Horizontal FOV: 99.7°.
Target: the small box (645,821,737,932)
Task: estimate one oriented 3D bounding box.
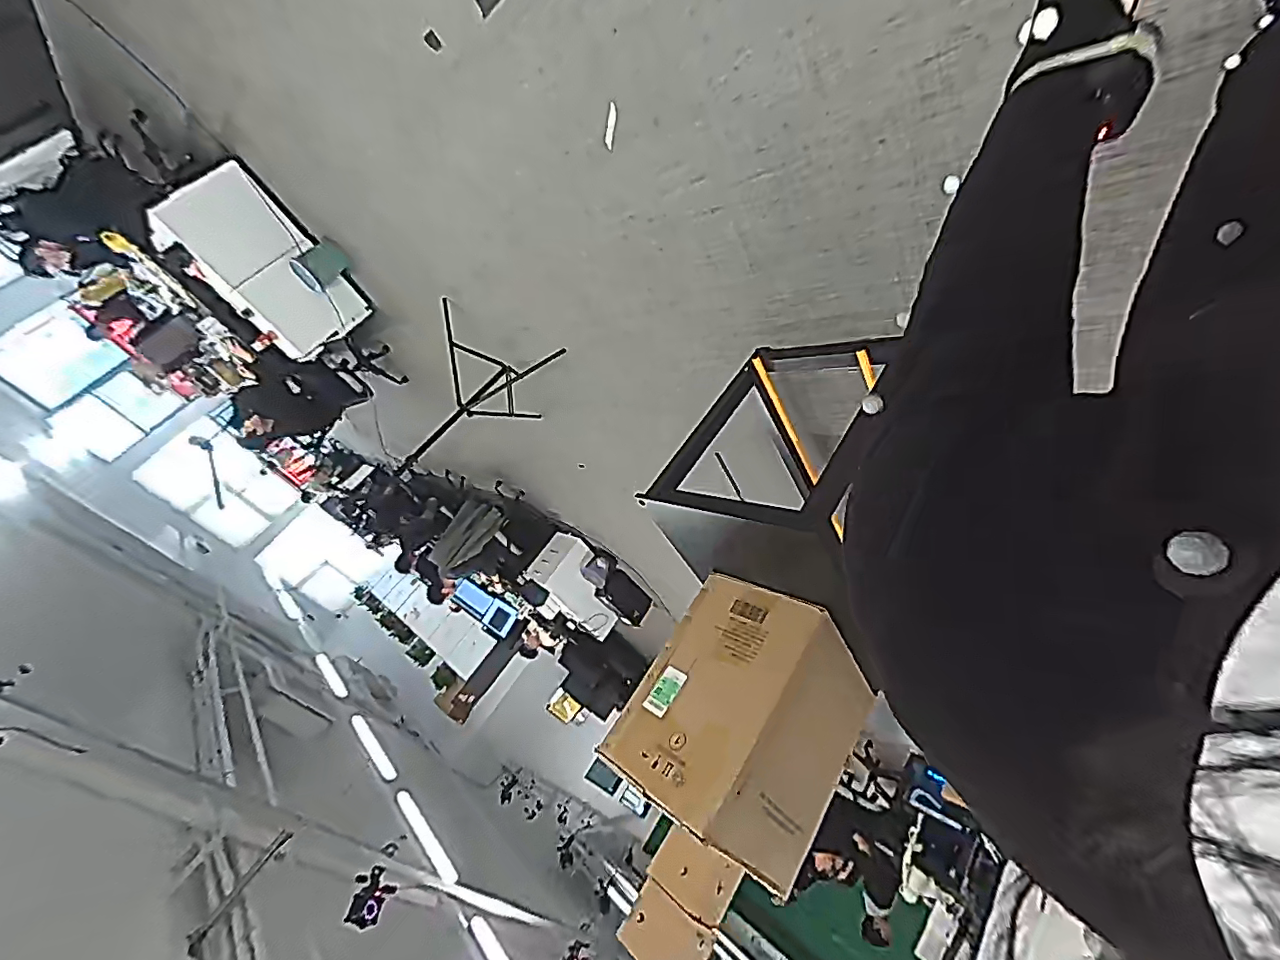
[{"bbox_3d":[0.153,1.115,1.531,0.179,0.176,0.168,9,143,49],"label":"small box"}]

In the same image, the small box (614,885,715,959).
[{"bbox_3d":[0.069,1.236,1.458,0.179,0.176,0.168,8,144,50],"label":"small box"}]
